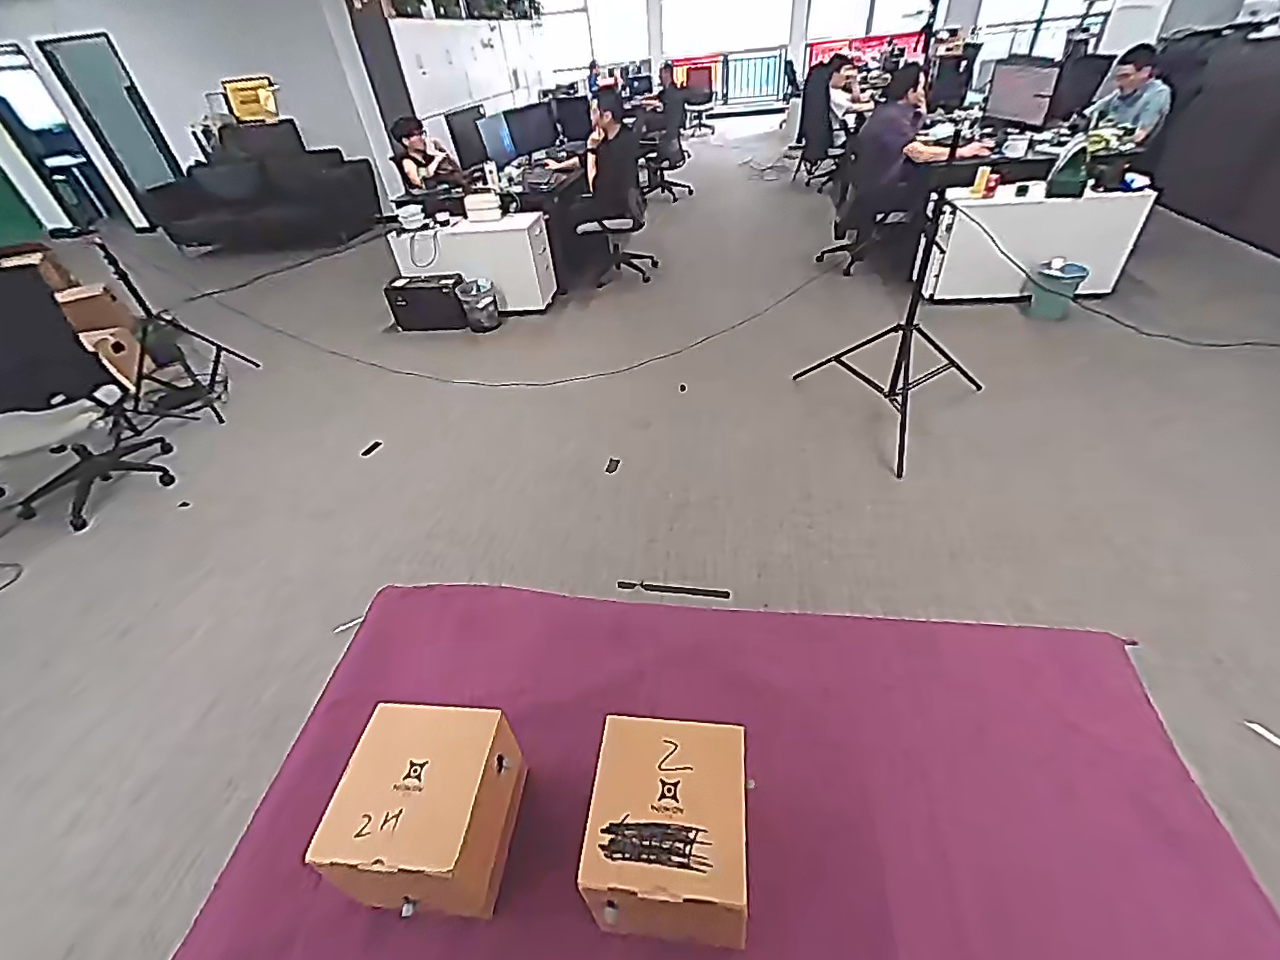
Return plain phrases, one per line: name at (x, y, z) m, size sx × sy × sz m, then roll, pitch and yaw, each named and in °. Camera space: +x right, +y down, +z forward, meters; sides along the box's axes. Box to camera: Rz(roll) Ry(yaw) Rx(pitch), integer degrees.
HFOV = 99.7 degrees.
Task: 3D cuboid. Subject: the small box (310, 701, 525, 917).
small box at (-0.249, 0.398, 0.662) m, size 0.168 × 0.176 × 0.179 m, roll 0°, pitch 40°, yaw 7°
